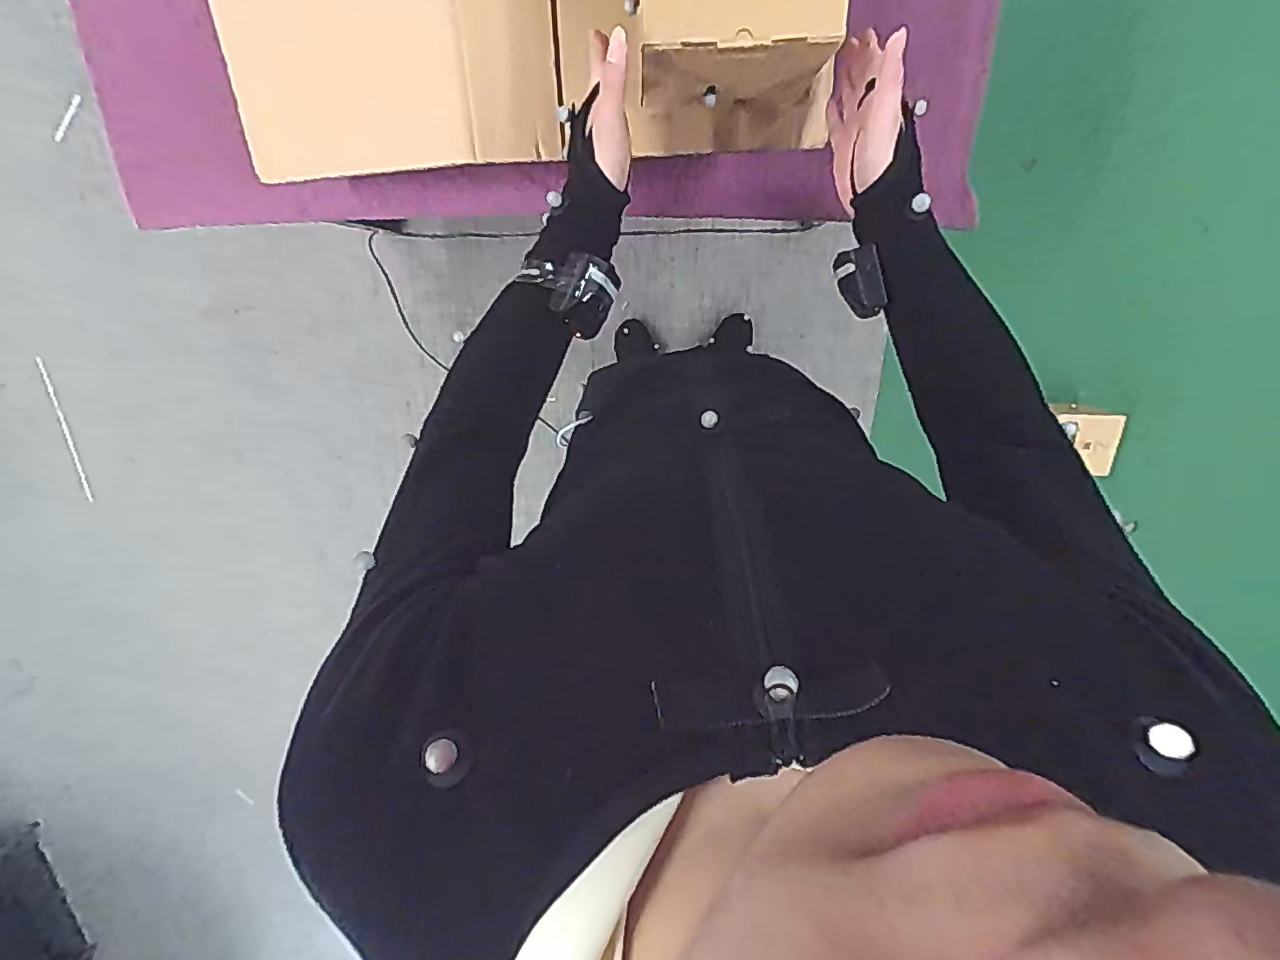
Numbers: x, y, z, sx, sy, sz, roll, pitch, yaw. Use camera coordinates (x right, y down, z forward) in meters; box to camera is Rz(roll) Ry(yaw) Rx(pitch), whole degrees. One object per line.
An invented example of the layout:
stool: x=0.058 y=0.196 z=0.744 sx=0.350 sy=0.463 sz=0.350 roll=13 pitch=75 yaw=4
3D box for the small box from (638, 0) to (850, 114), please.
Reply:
small box: x=0.081 y=-0.453 z=0.480 sx=0.168 sy=0.176 sz=0.179 roll=-2 pitch=110 yaw=1
